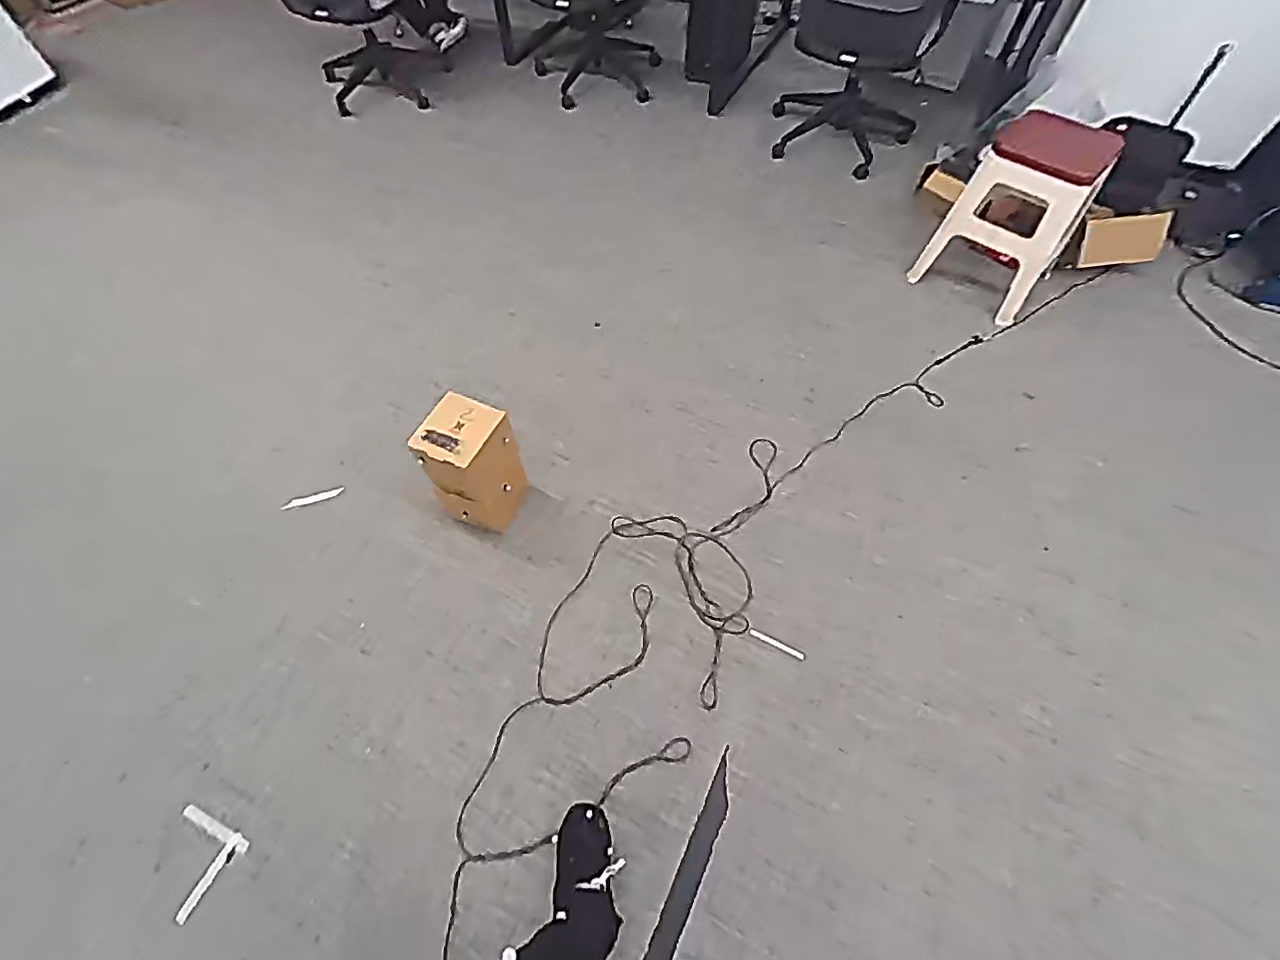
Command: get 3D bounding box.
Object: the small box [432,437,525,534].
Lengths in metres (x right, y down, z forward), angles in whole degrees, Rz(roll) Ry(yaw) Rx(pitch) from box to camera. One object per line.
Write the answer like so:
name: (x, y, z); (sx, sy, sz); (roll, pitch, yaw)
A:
small box: (-0.422, 0.018, 1.455); (0.168, 0.176, 0.179); (17, 61, 11)
